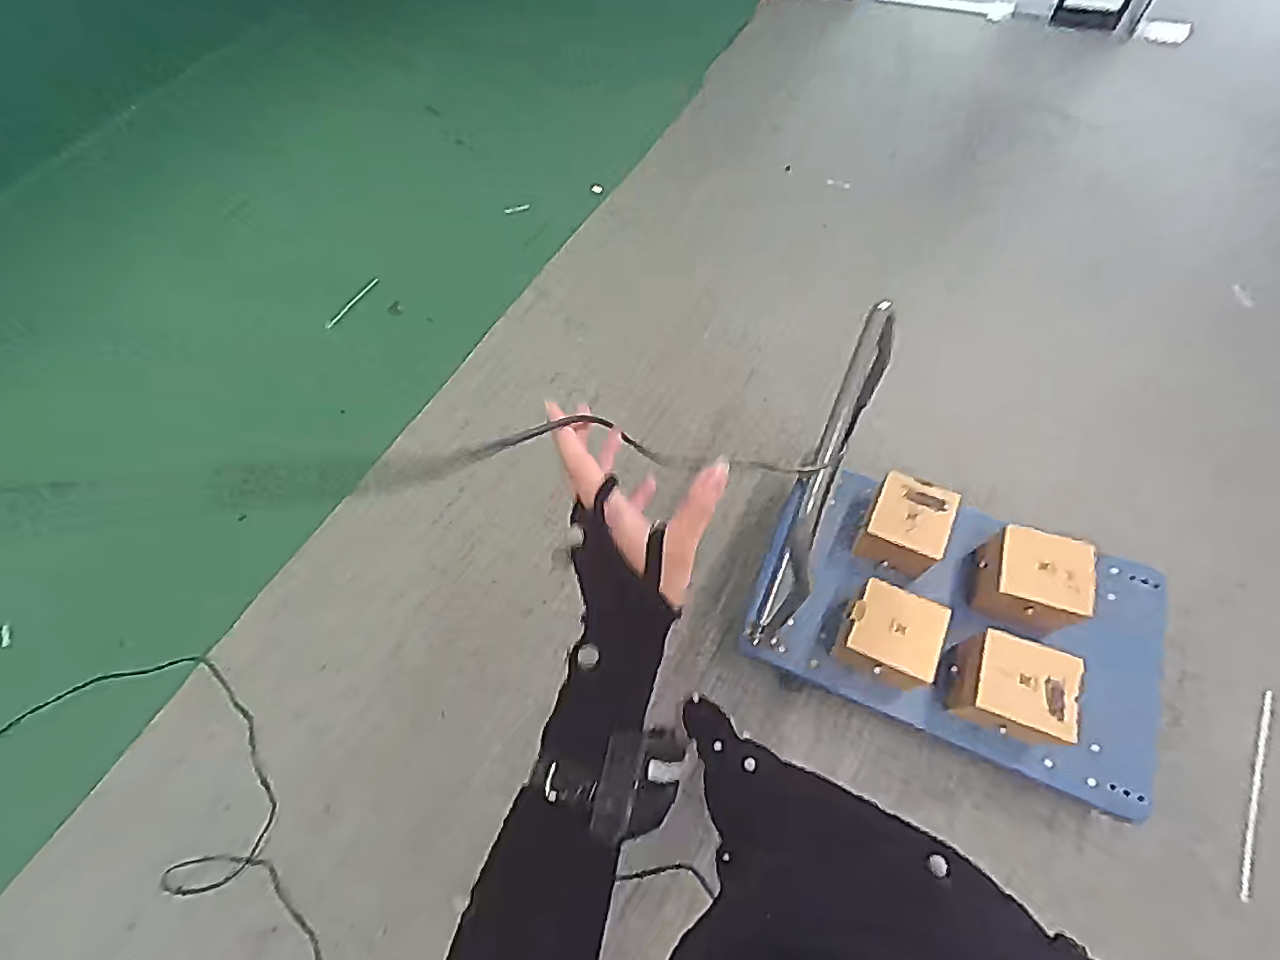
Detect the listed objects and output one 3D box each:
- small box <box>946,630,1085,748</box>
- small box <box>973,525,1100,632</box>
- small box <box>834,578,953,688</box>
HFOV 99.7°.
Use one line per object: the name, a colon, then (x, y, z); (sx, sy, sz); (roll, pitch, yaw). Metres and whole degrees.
small box: (0.776, 0.438, 1.128); (0.179, 0.176, 0.168); (19, 66, 17)
small box: (0.886, 0.229, 1.222); (0.179, 0.176, 0.168); (17, 67, 16)
small box: (0.557, 0.347, 1.207); (0.179, 0.176, 0.168); (23, 68, 18)
